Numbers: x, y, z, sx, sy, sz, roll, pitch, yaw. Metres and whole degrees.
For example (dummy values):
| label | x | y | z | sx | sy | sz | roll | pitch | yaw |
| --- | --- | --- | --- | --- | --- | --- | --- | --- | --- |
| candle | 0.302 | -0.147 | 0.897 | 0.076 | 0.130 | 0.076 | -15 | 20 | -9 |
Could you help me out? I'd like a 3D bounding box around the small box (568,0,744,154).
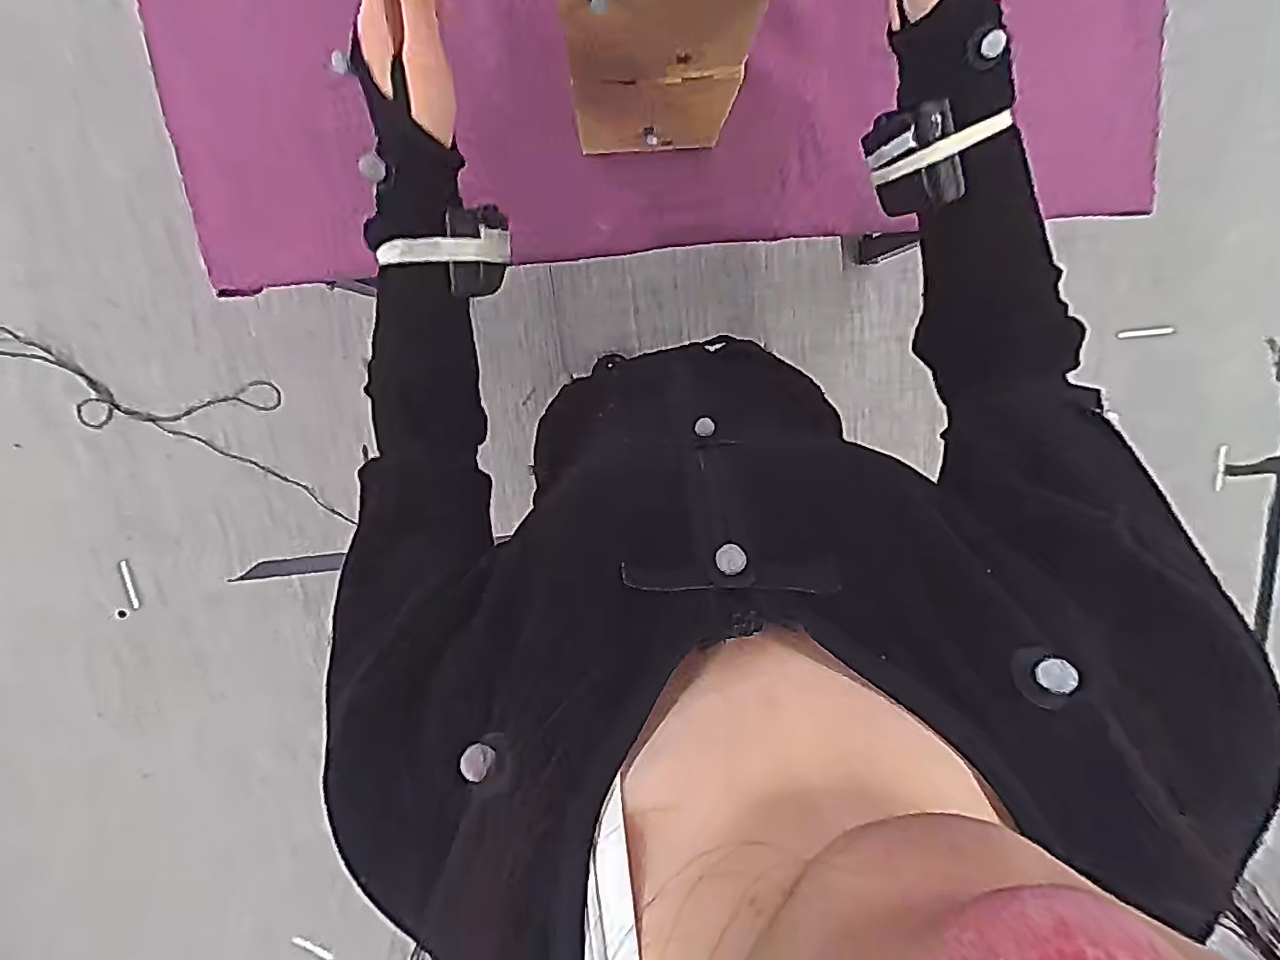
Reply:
| label | x | y | z | sx | sy | sz | roll | pitch | yaw |
| --- | --- | --- | --- | --- | --- | --- | --- | --- | --- |
| small box | 0.009 | -0.478 | 0.574 | 0.168 | 0.176 | 0.179 | -4 | 101 | -1 |
